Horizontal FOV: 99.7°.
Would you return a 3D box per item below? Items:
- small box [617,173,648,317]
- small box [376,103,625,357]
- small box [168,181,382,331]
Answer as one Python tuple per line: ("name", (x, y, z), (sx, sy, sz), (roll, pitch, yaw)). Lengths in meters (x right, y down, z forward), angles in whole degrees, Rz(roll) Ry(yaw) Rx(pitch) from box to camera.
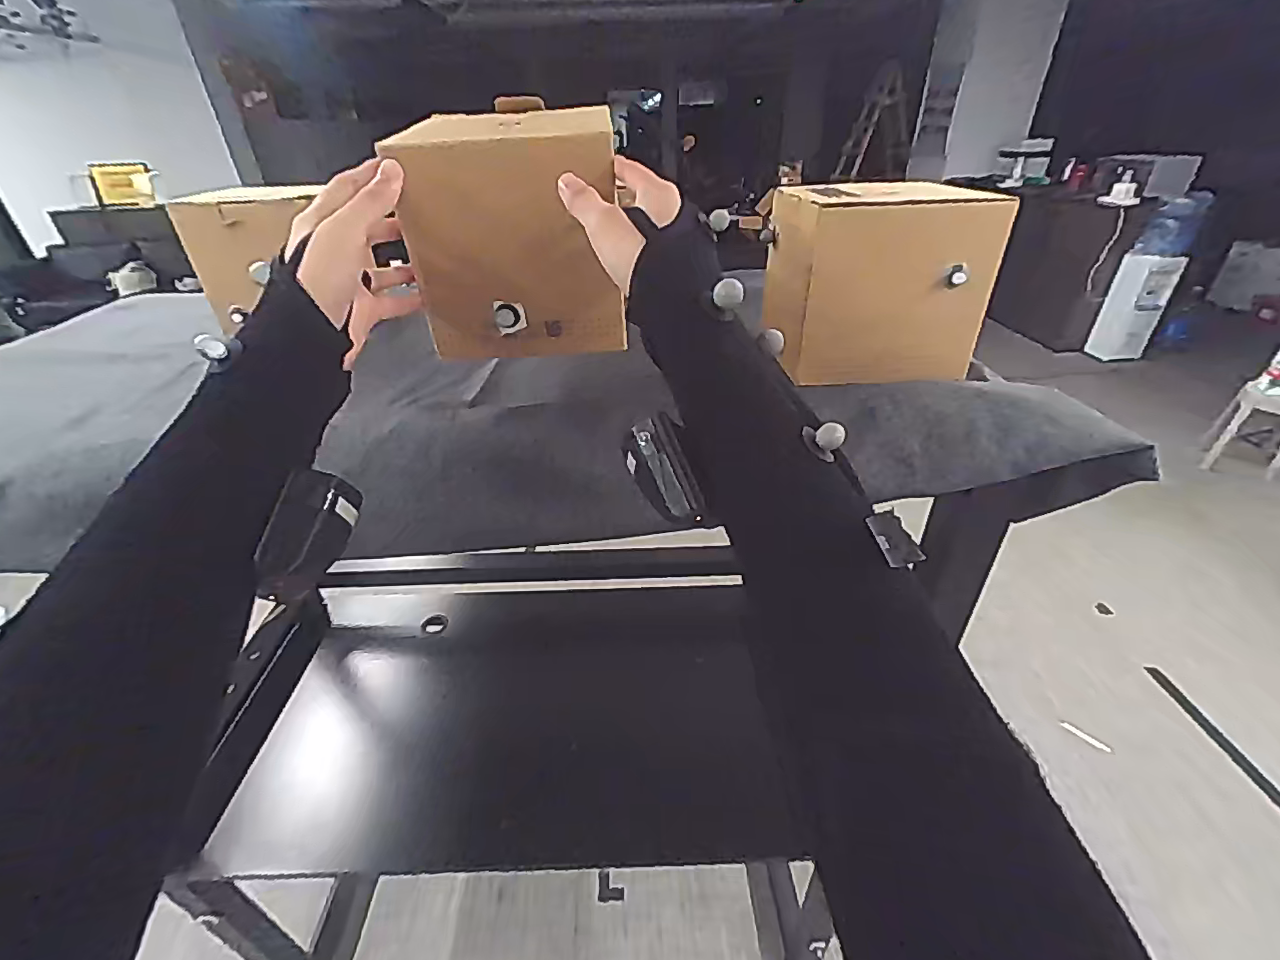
("small box", (-0.080, -0.336, 0.774), (0.179, 0.176, 0.168), (-2, 33, -1))
("small box", (-0.101, -0.224, 0.481), (0.168, 0.176, 0.179), (-4, 40, -1))
("small box", (-0.487, -0.314, 0.760), (0.168, 0.176, 0.179), (-4, 33, -4))
